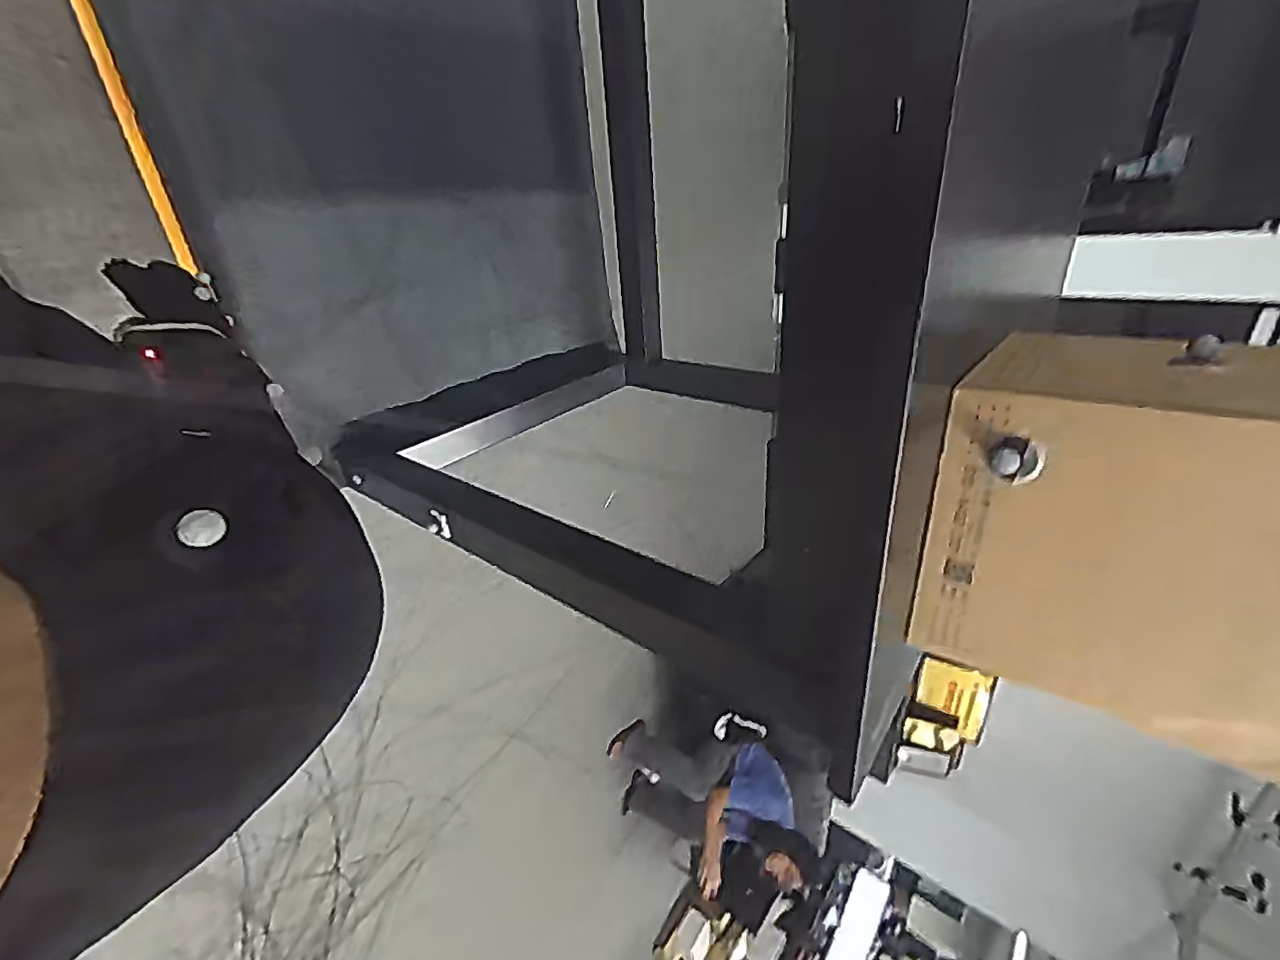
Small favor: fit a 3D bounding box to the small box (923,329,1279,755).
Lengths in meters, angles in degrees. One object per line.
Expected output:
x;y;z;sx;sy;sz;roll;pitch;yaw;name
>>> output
0.279;0.010;0.308;0.179;0.176;0.168;-28;125;-45;small box
